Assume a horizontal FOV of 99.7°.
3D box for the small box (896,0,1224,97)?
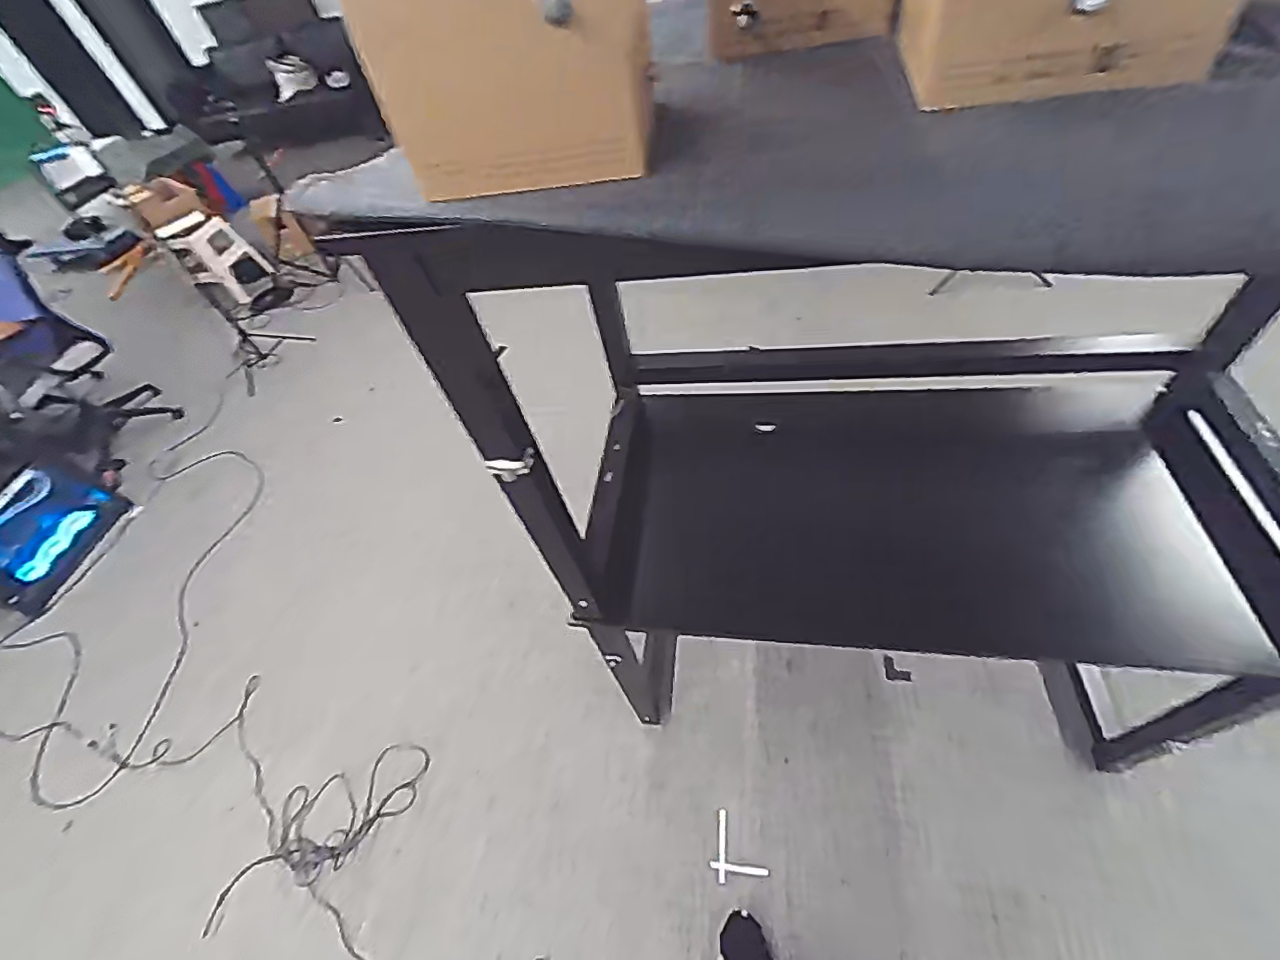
[{"bbox_3d":[0.276,-0.380,0.354,0.168,0.176,0.179,2,52,15],"label":"small box"}]
